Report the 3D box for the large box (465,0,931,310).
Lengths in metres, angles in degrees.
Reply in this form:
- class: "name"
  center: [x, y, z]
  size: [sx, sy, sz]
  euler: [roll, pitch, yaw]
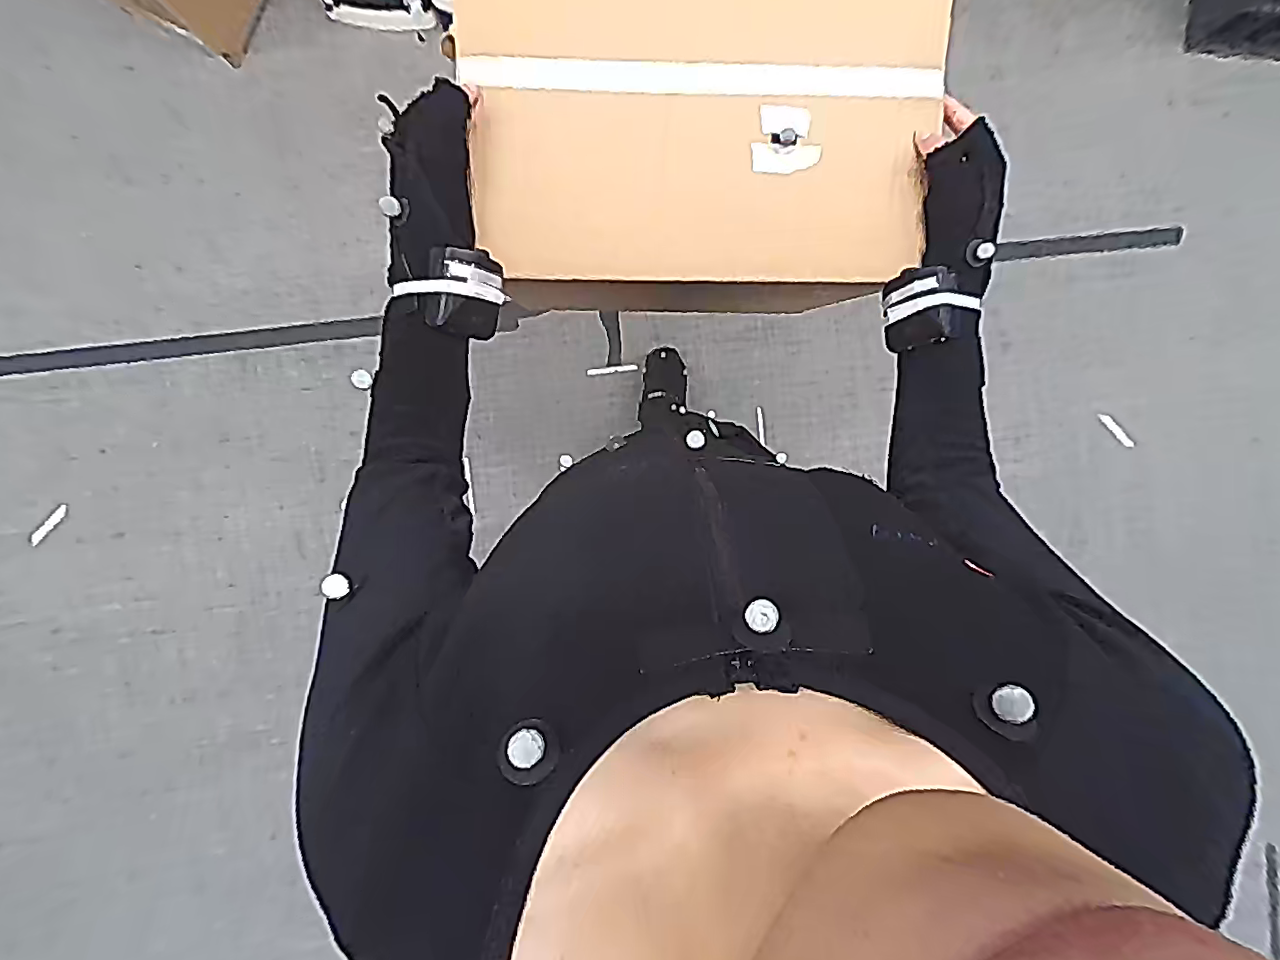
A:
- class: "large box"
  center: [0.043, -0.372, 0.615]
  size: [0.408, 0.320, 0.320]
  euler: [-1, 103, -4]
